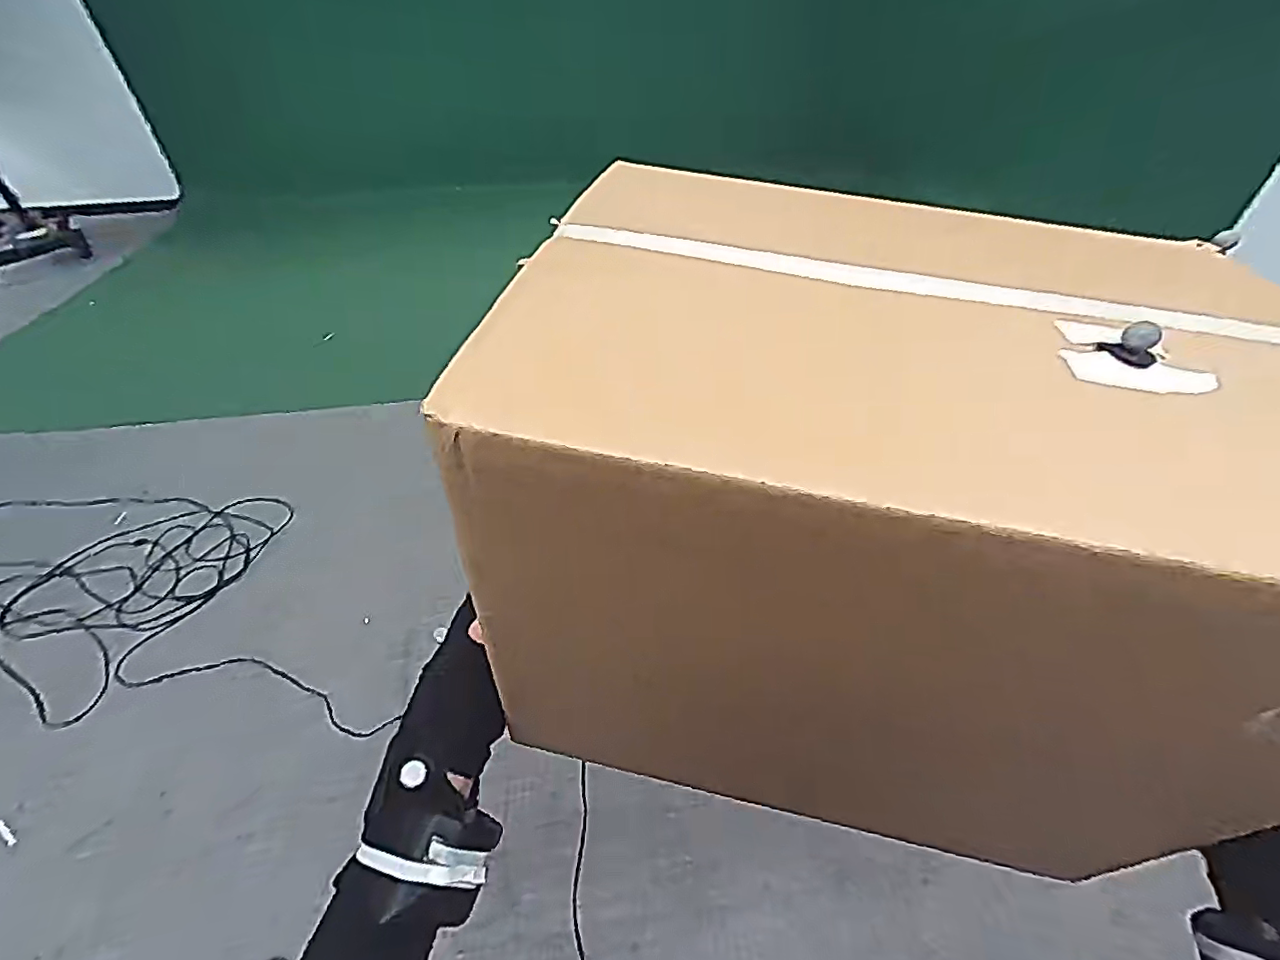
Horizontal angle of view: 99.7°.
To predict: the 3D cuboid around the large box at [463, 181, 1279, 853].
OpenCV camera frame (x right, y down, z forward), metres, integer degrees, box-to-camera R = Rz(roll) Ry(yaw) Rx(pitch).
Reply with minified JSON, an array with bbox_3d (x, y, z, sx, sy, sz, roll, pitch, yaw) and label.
[{"bbox_3d":[0.139,0.019,0.392,0.408,0.320,0.320,11,46,4],"label":"large box"}]
